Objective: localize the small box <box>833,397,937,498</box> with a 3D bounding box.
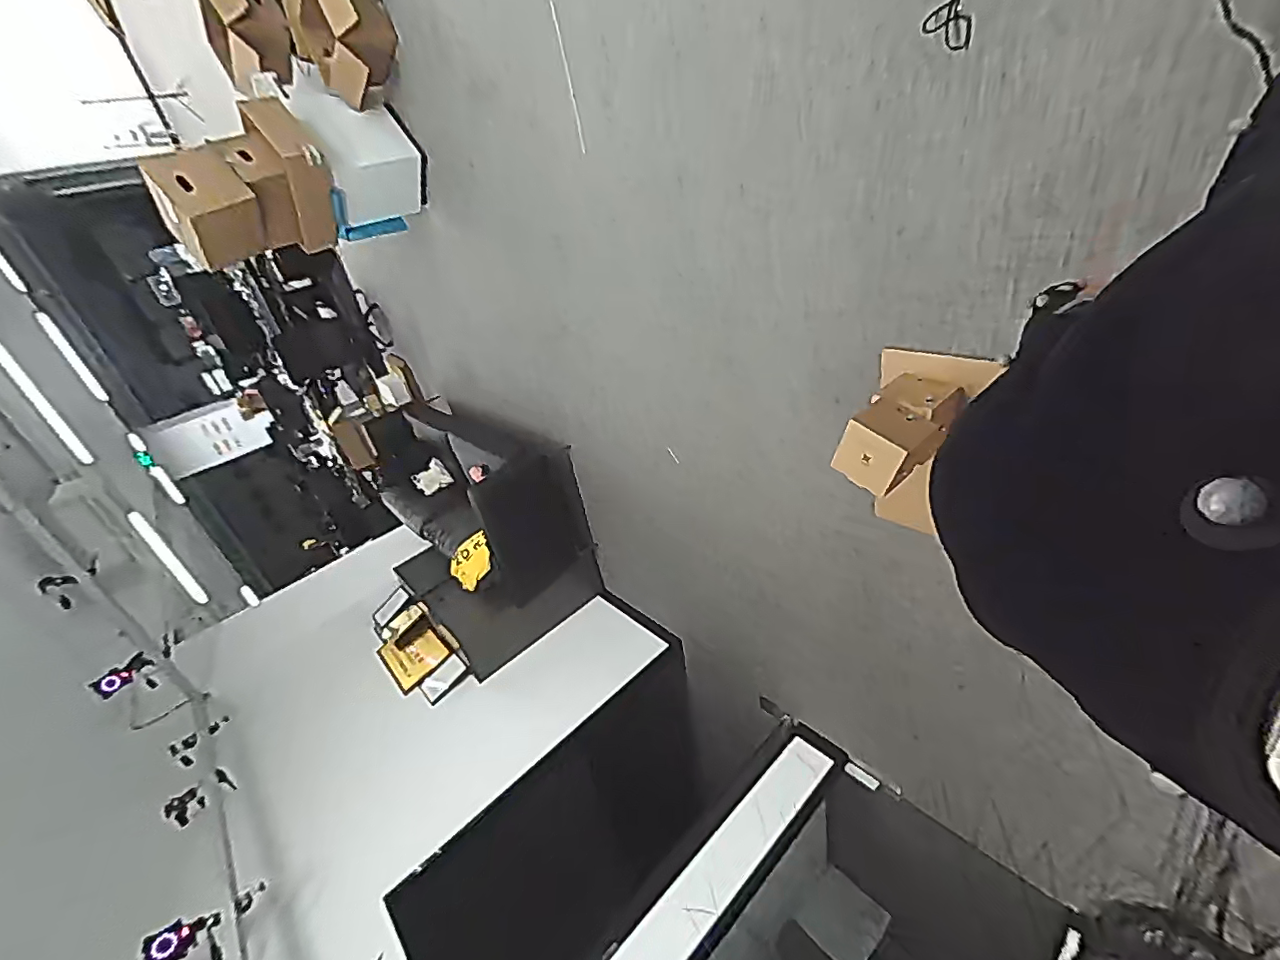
[{"bbox_3d":[0.652,-0.090,1.441,0.168,0.176,0.179,40,146,29],"label":"small box"}]
